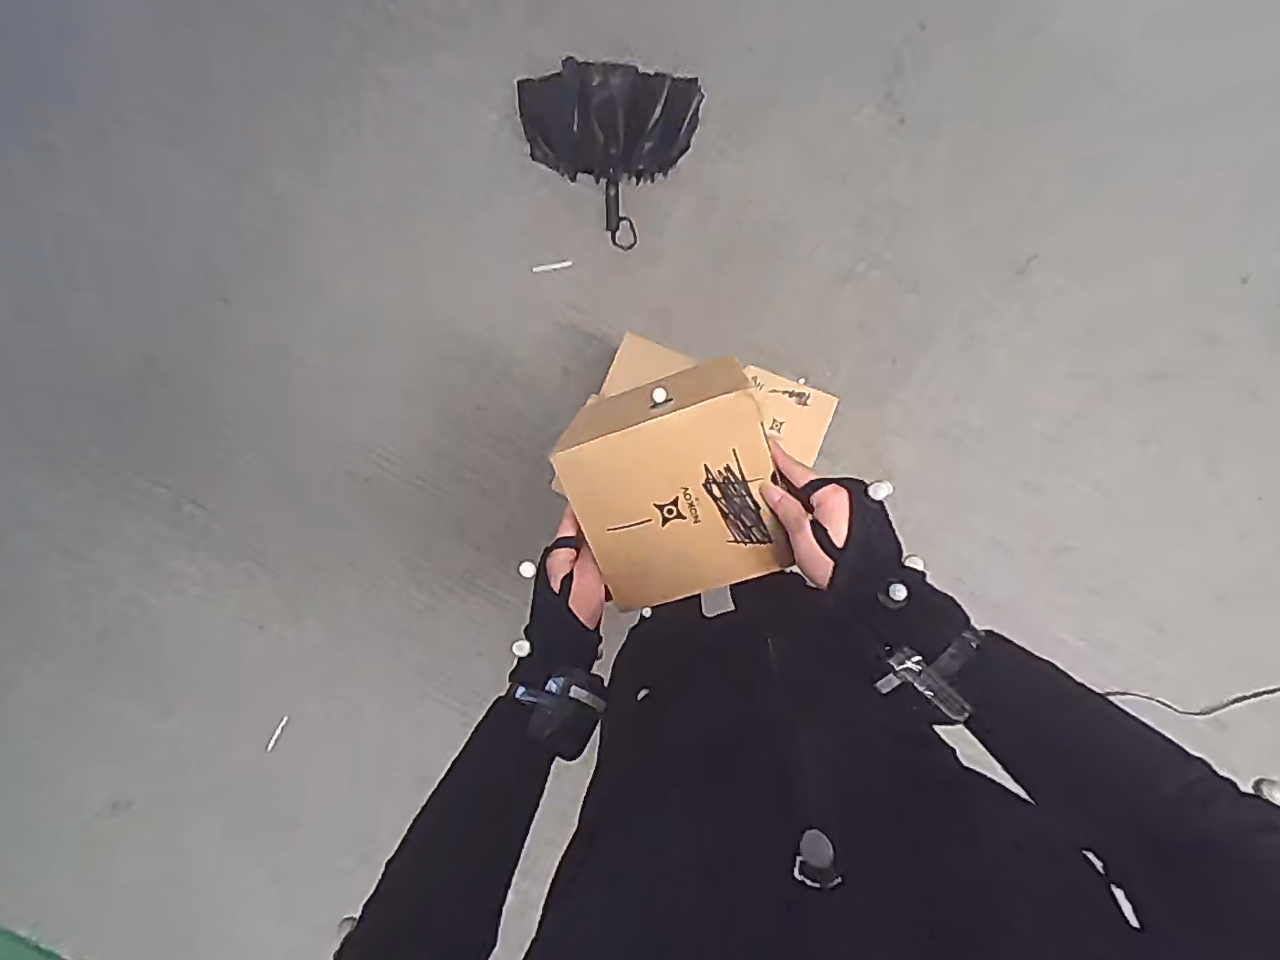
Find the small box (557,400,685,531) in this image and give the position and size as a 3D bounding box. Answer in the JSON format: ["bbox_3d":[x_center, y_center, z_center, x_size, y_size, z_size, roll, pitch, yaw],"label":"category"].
[{"bbox_3d":[-0.030,-0.033,0.982,0.168,0.176,0.179,24,99,1],"label":"small box"}]

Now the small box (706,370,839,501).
[{"bbox_3d":[0.225,-0.078,0.970,0.168,0.176,0.179,20,94,0],"label":"small box"}]
